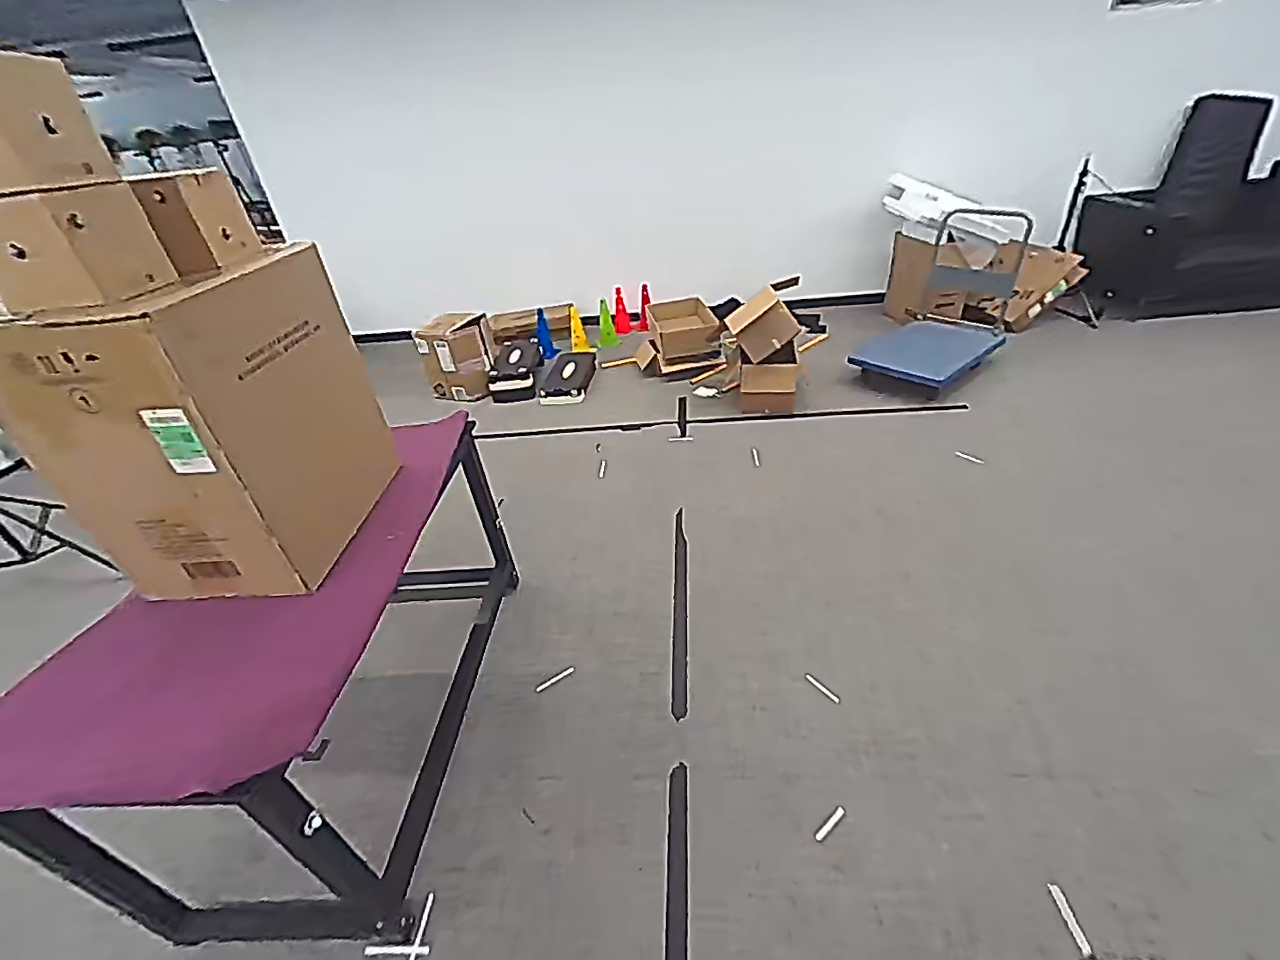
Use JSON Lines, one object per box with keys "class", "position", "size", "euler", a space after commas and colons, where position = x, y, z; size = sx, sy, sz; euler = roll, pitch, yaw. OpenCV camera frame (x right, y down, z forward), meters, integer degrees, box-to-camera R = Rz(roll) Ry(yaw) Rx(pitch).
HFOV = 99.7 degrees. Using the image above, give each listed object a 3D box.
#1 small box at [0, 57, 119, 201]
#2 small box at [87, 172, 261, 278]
{"class": "small box", "position": [-0.960, -0.517, 0.807], "size": [0.179, 0.176, 0.168], "euler": [-7, 32, 1]}
{"class": "small box", "position": [-0.939, -0.523, 1.112], "size": [0.179, 0.176, 0.168], "euler": [-5, 35, 1]}
